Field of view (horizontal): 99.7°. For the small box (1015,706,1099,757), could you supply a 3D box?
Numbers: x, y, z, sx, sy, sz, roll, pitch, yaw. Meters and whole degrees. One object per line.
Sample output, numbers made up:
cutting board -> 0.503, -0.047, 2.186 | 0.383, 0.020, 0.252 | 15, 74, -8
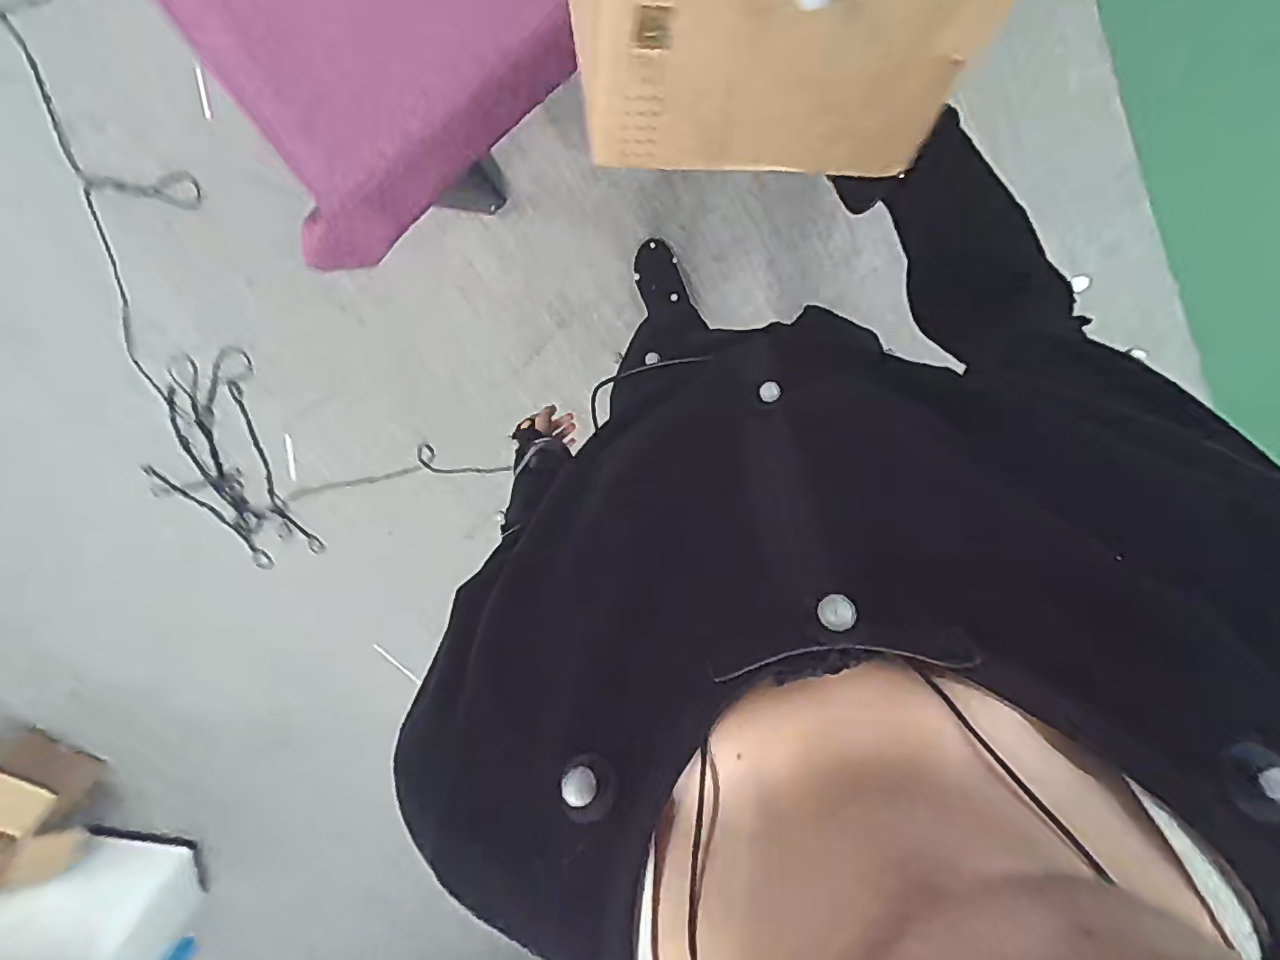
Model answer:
small box -> 1.411, 0.834, 1.819 | 0.168, 0.176, 0.179 | -31, 110, 14

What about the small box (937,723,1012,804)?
small box -> 1.164, 0.986, 1.886 | 0.168, 0.176, 0.179 | -15, 113, 7

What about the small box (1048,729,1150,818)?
small box -> 1.407, 0.898, 1.667 | 0.179, 0.176, 0.168 | -14, 113, 8
